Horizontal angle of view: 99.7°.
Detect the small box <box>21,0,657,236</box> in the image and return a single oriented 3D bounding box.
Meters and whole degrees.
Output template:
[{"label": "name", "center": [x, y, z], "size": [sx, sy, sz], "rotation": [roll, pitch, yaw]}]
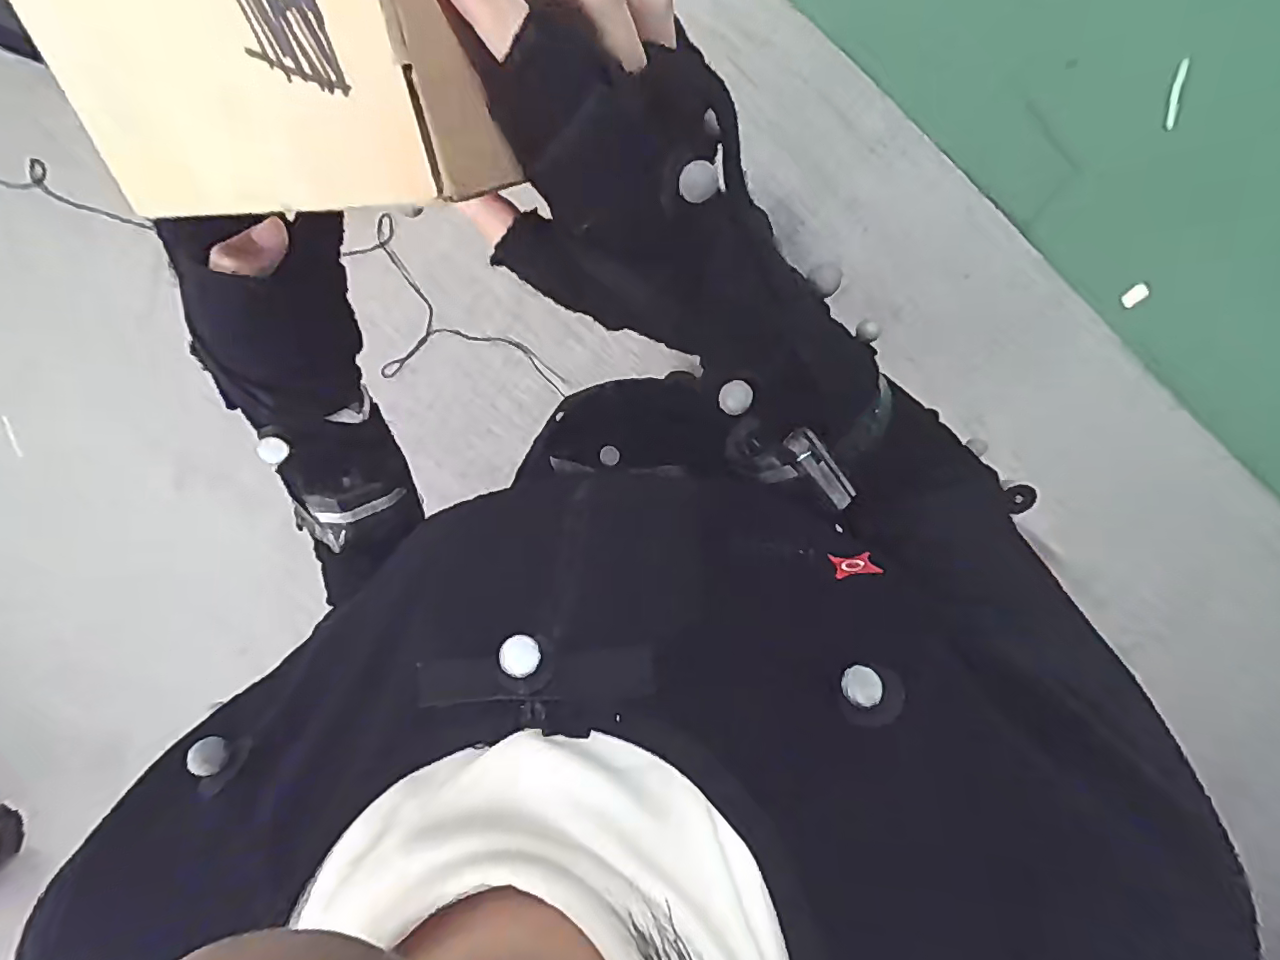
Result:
[{"label": "small box", "center": [-0.104, -0.206, 0.206], "size": [0.179, 0.176, 0.168], "rotation": [7, 128, 26]}]
